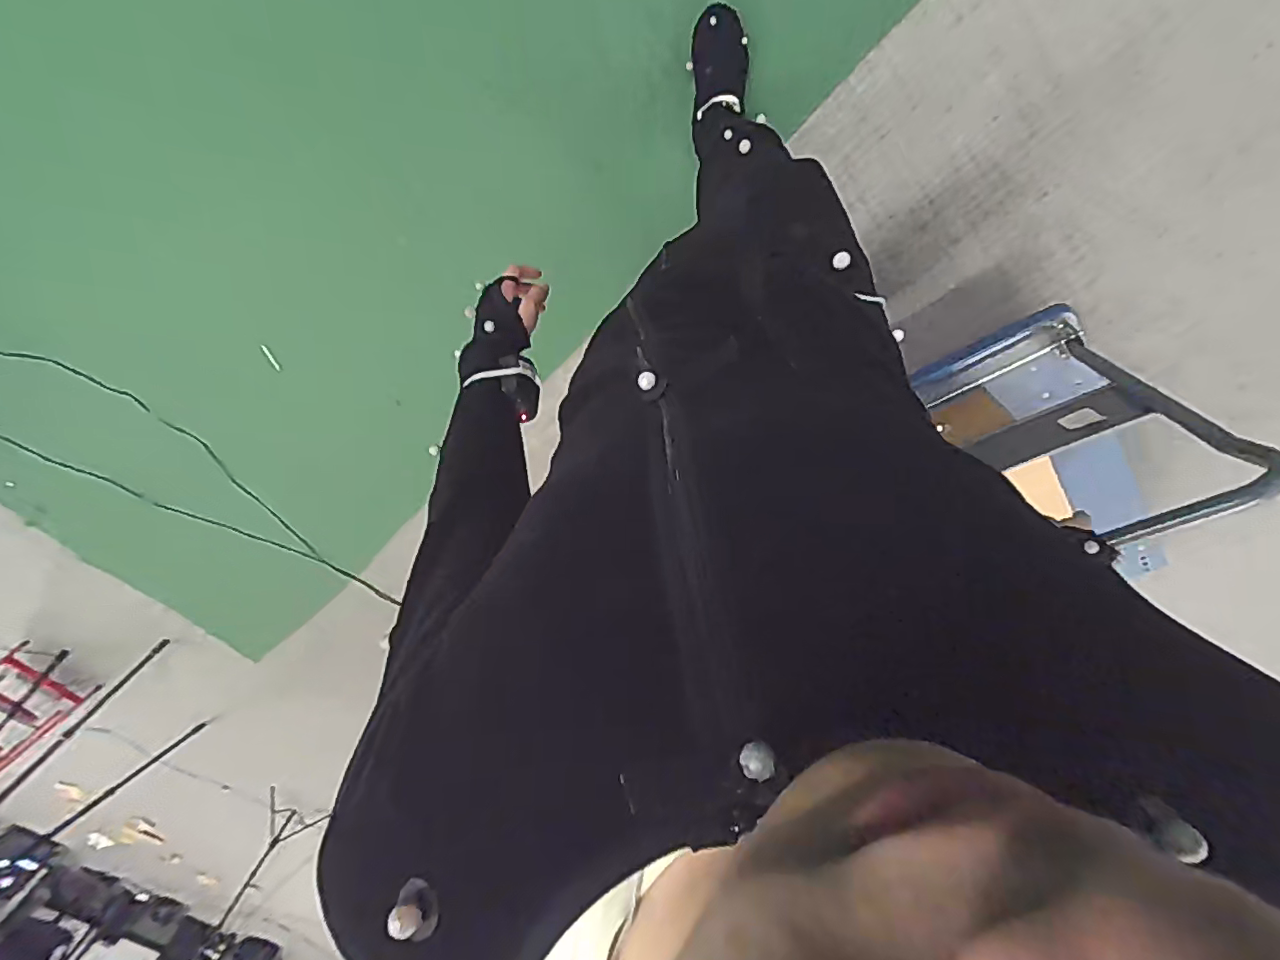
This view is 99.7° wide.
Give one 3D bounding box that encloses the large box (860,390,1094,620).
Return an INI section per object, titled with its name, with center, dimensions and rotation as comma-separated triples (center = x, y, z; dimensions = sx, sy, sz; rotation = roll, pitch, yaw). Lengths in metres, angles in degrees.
[large box]
center = 0.800, 0.061, 1.328
dimensions = 0.320, 0.320, 0.408
rotation = -29, 114, 25
